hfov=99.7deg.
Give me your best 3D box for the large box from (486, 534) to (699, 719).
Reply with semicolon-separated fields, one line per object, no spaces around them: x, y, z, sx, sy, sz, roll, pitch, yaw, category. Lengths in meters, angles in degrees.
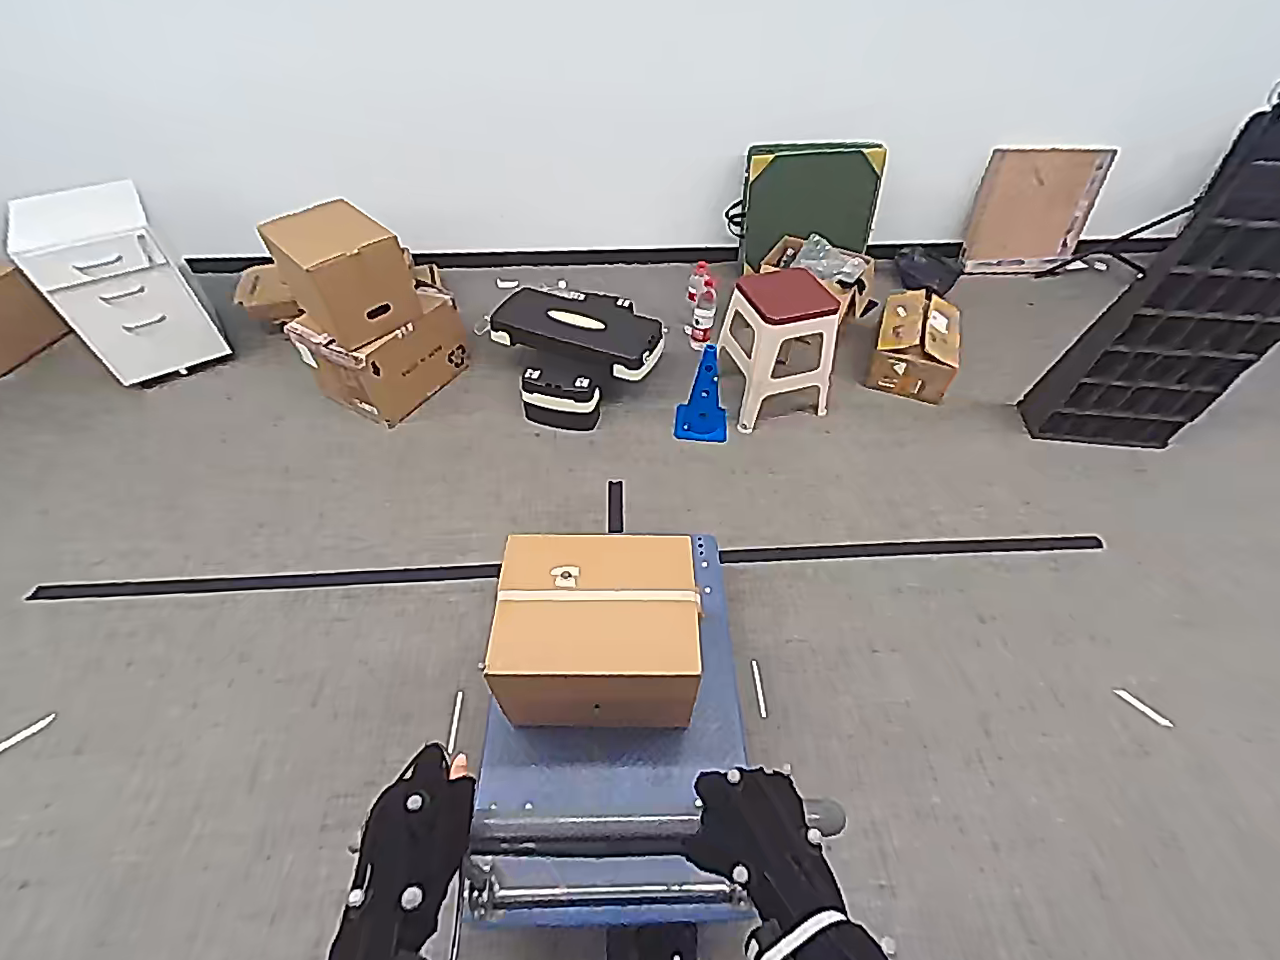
-0.088;0.334;1.212;0.408;0.320;0.320;0;49;0;large box
